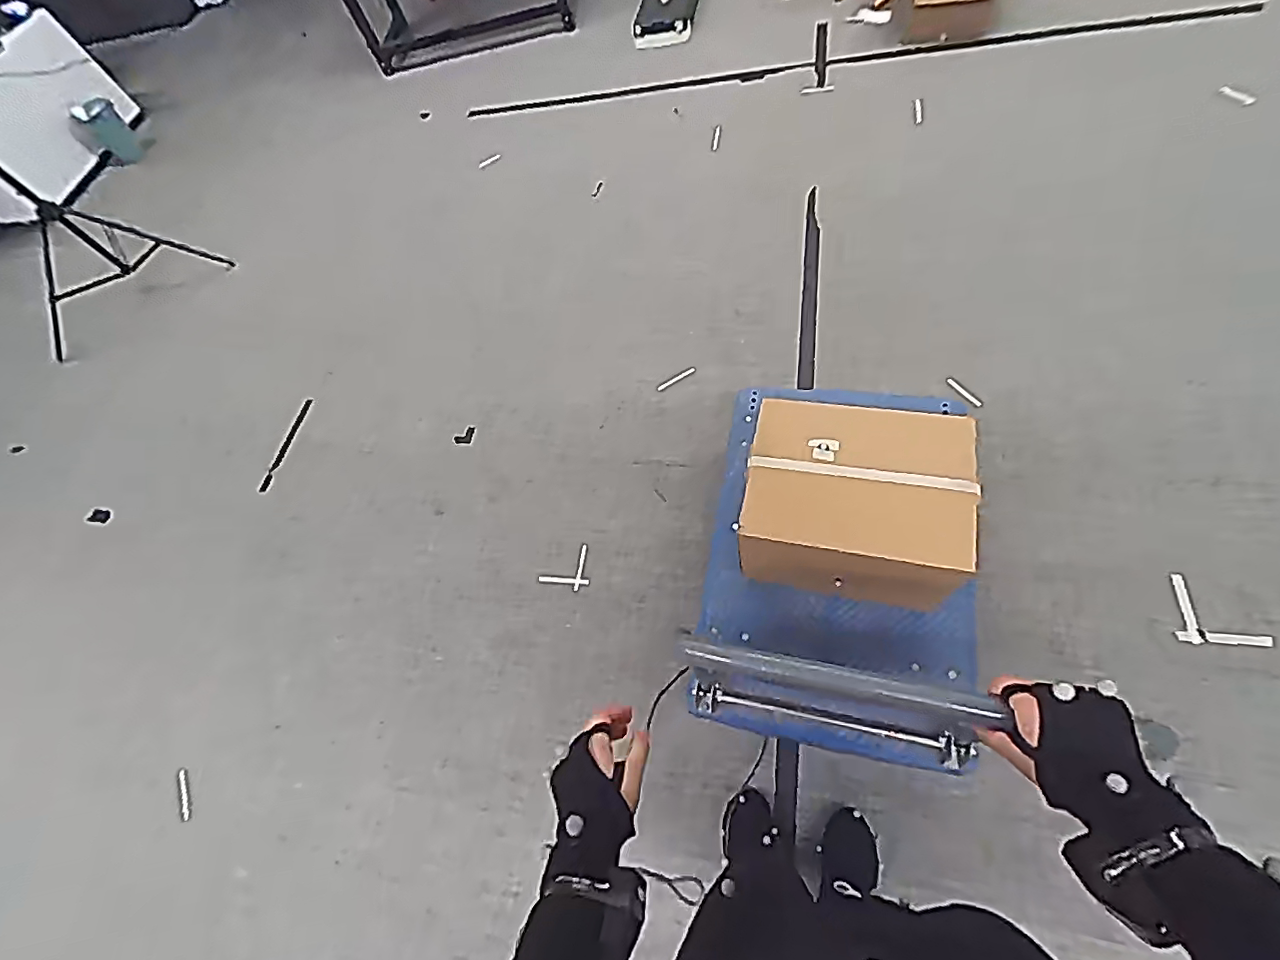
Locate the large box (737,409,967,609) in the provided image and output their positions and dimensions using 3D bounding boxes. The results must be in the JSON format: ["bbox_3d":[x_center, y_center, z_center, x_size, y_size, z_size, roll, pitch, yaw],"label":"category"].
[{"bbox_3d":[0.443,0.068,1.176,0.408,0.320,0.320,8,65,17],"label":"large box"}]
